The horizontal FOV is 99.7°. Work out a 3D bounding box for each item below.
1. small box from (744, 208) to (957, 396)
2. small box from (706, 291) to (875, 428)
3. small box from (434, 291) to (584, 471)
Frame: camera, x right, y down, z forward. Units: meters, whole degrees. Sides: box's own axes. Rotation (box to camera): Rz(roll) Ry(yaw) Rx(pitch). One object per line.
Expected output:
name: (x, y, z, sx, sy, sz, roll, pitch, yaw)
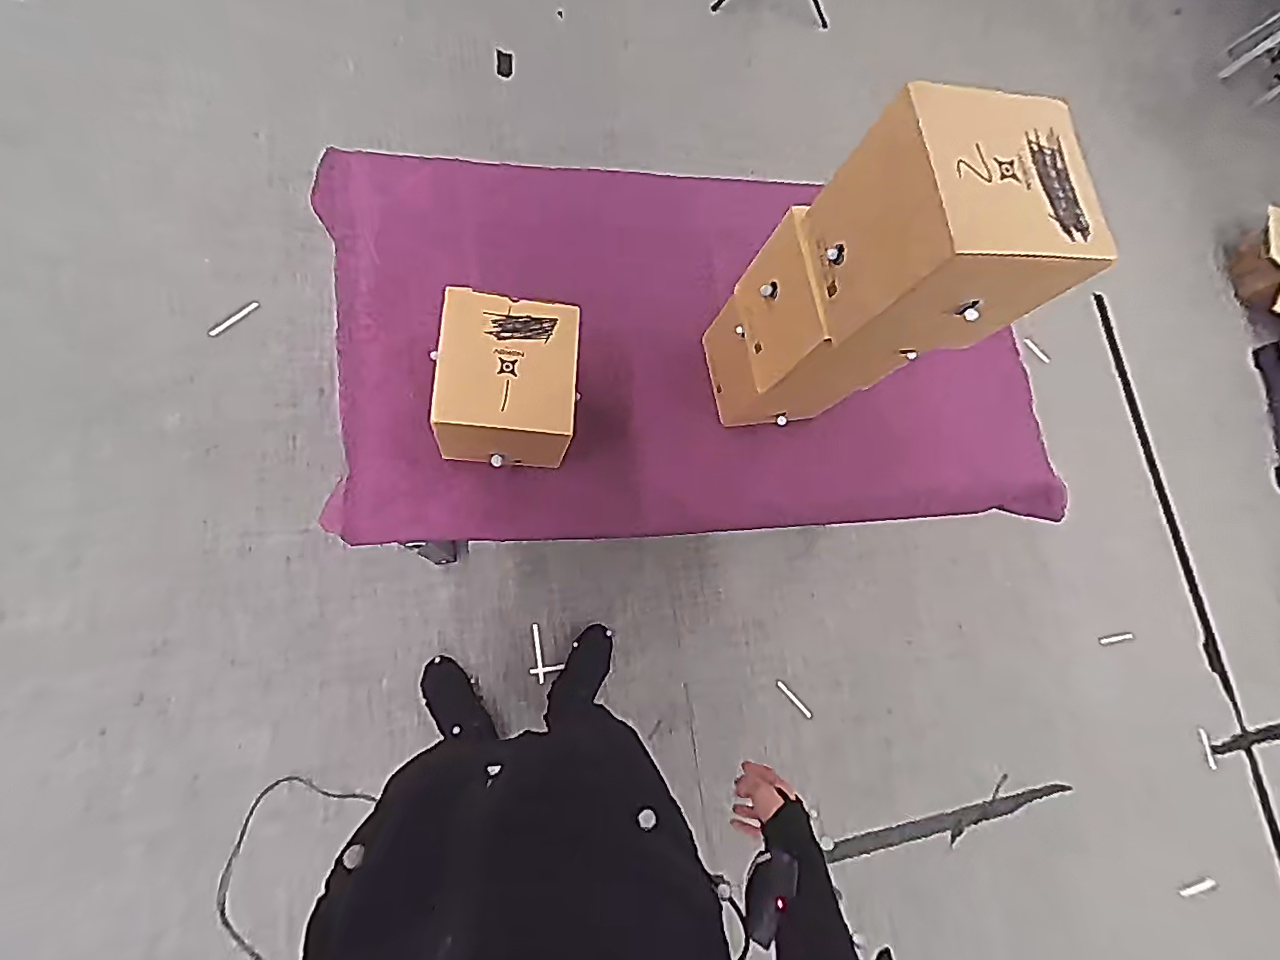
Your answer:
small box: (0.245, -0.214, 0.681, 0.179, 0.176, 0.168, -7, 78, -16)
small box: (0.224, -0.188, 0.842, 0.179, 0.176, 0.168, -7, 78, -16)
small box: (-0.173, -0.121, 0.727, 0.168, 0.176, 0.179, 5, 77, -13)
